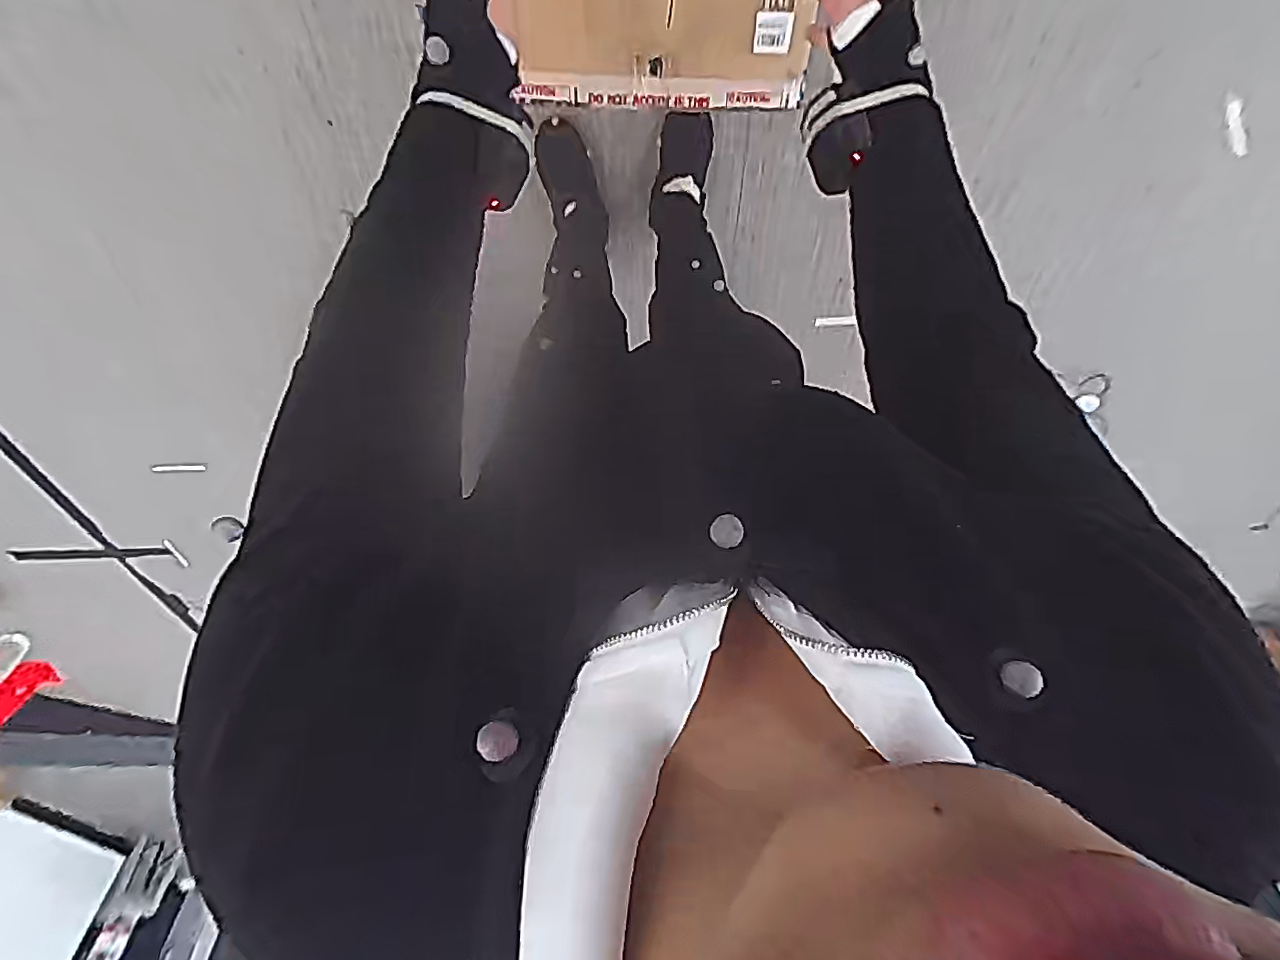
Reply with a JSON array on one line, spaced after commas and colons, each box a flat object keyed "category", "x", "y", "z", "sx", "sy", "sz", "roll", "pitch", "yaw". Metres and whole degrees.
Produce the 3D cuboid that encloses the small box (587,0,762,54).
[{"category": "small box", "x": 0.029, "y": -0.535, "z": 0.522, "sx": 0.168, "sy": 0.176, "sz": 0.179, "roll": -2, "pitch": 137, "yaw": -2}]
